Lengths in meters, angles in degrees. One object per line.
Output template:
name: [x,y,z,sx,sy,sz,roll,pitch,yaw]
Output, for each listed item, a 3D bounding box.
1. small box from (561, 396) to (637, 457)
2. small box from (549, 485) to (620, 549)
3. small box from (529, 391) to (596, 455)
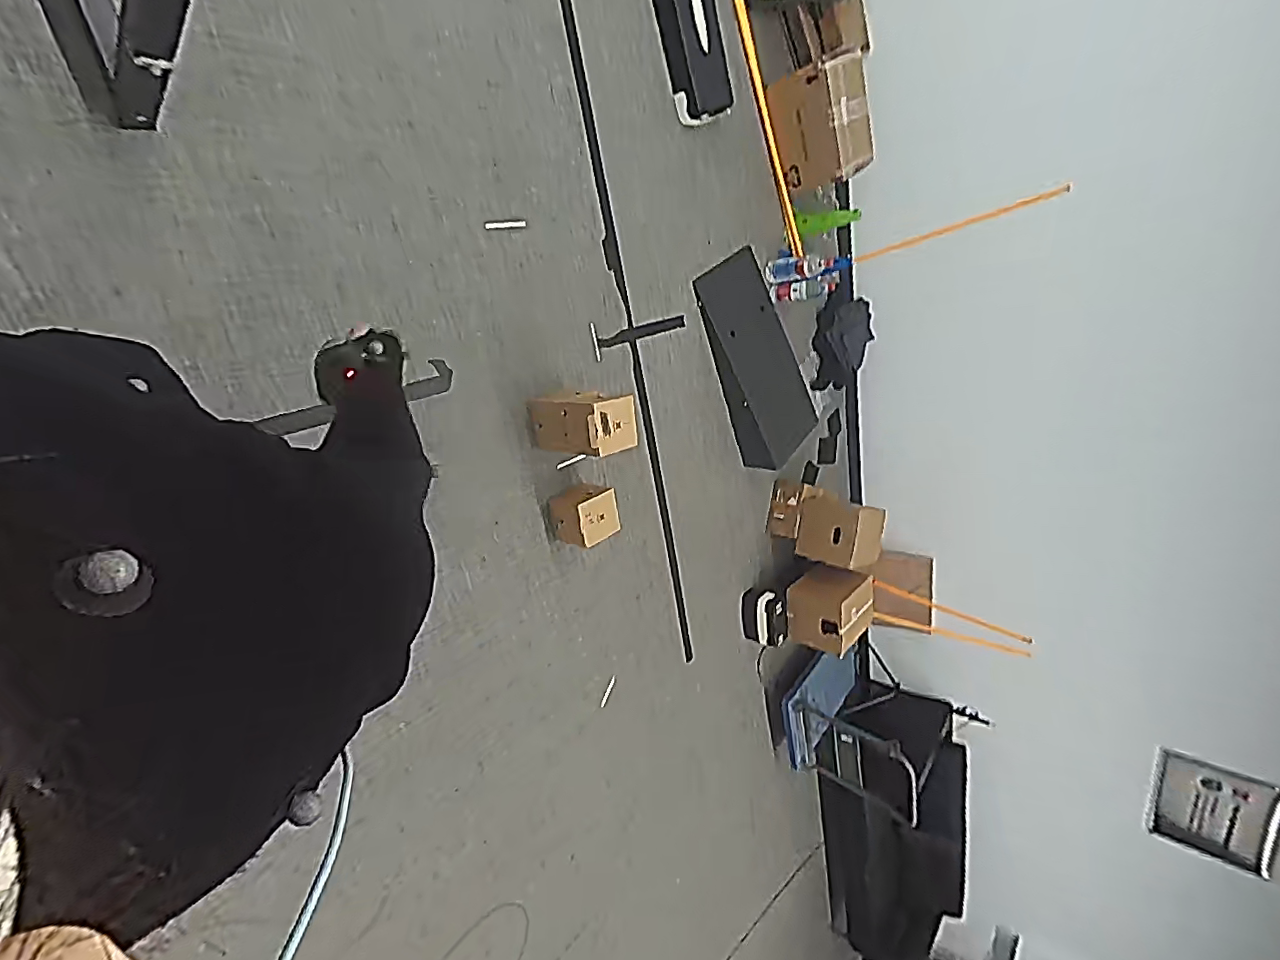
small box: [-0.135,-0.174,1.718,0.179,0.176,0.168,-21,112,-44]
small box: [-0.200,0.127,1.944,0.179,0.176,0.168,-27,115,-41]
small box: [-0.252,-0.199,1.832,0.168,0.176,0.179,-27,116,-42]
